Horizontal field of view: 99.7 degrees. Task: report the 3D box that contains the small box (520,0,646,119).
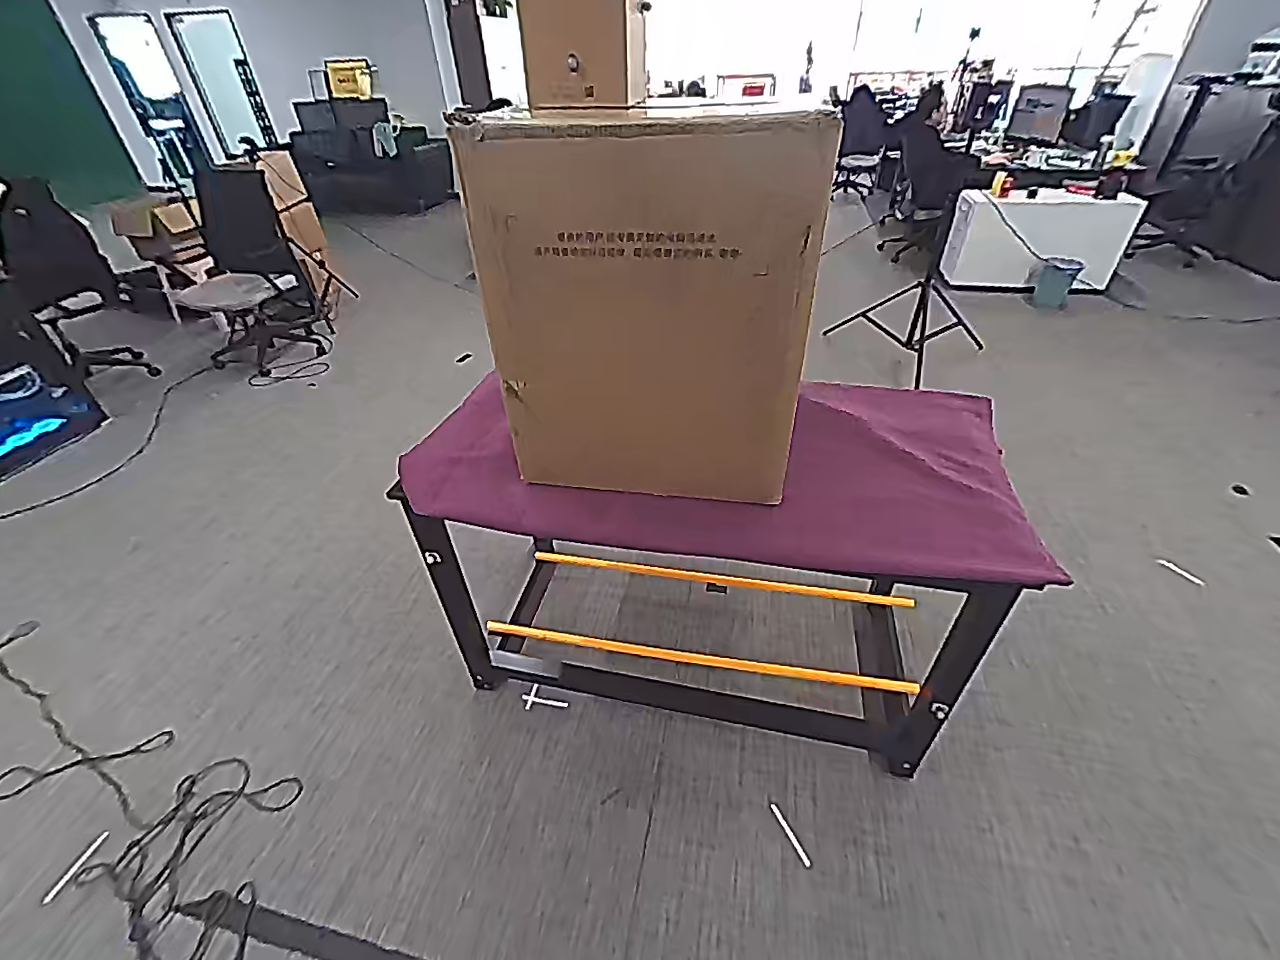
[{"bbox_3d":[-0.085,-0.697,0.880,0.168,0.176,0.179,5,38,9],"label":"small box"}]
